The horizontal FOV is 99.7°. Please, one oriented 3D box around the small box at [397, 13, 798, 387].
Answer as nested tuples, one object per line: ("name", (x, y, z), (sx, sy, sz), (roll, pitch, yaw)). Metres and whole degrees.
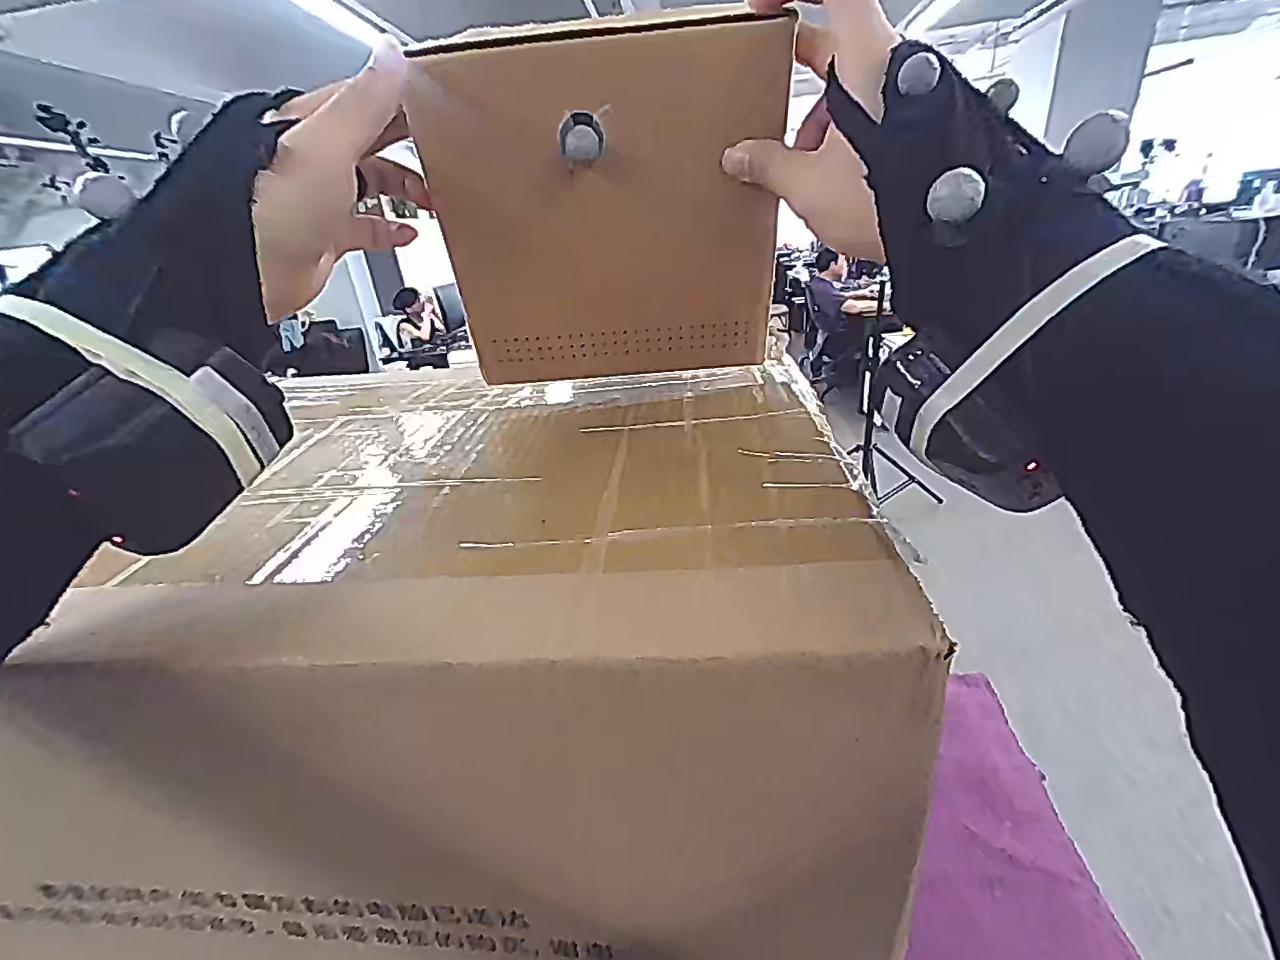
("small box", (-0.014, -0.174, 0.342), (0.179, 0.176, 0.168), (-4, 41, 3))
